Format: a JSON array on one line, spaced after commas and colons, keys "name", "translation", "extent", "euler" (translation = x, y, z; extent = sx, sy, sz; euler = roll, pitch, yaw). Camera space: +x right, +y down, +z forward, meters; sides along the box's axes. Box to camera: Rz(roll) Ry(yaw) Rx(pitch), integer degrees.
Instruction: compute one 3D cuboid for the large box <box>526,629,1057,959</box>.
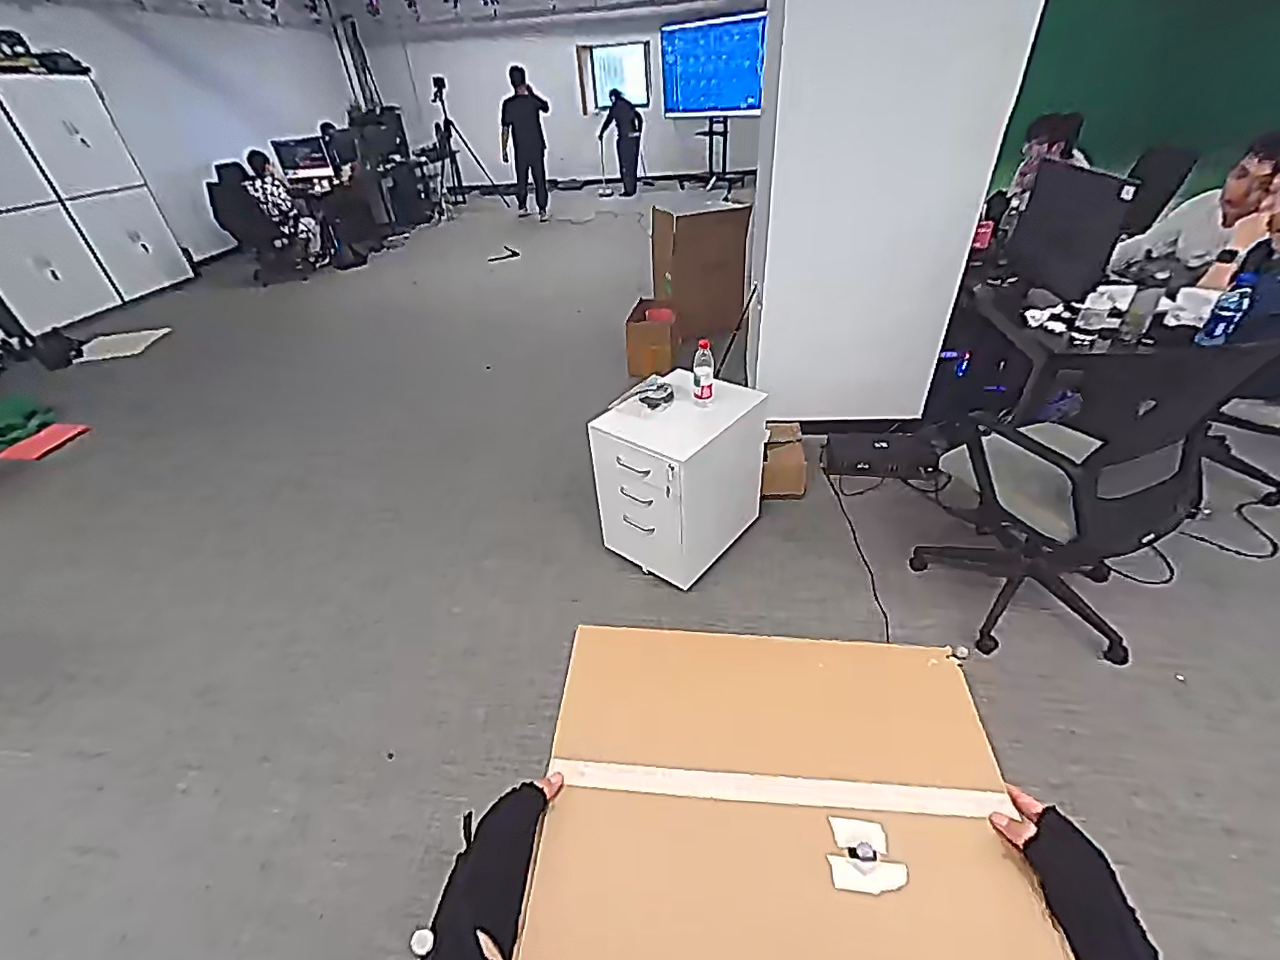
[{"name": "large box", "translation": [0.123, 0.390, 0.591], "extent": [0.408, 0.320, 0.320], "euler": [3, 43, 5]}]
